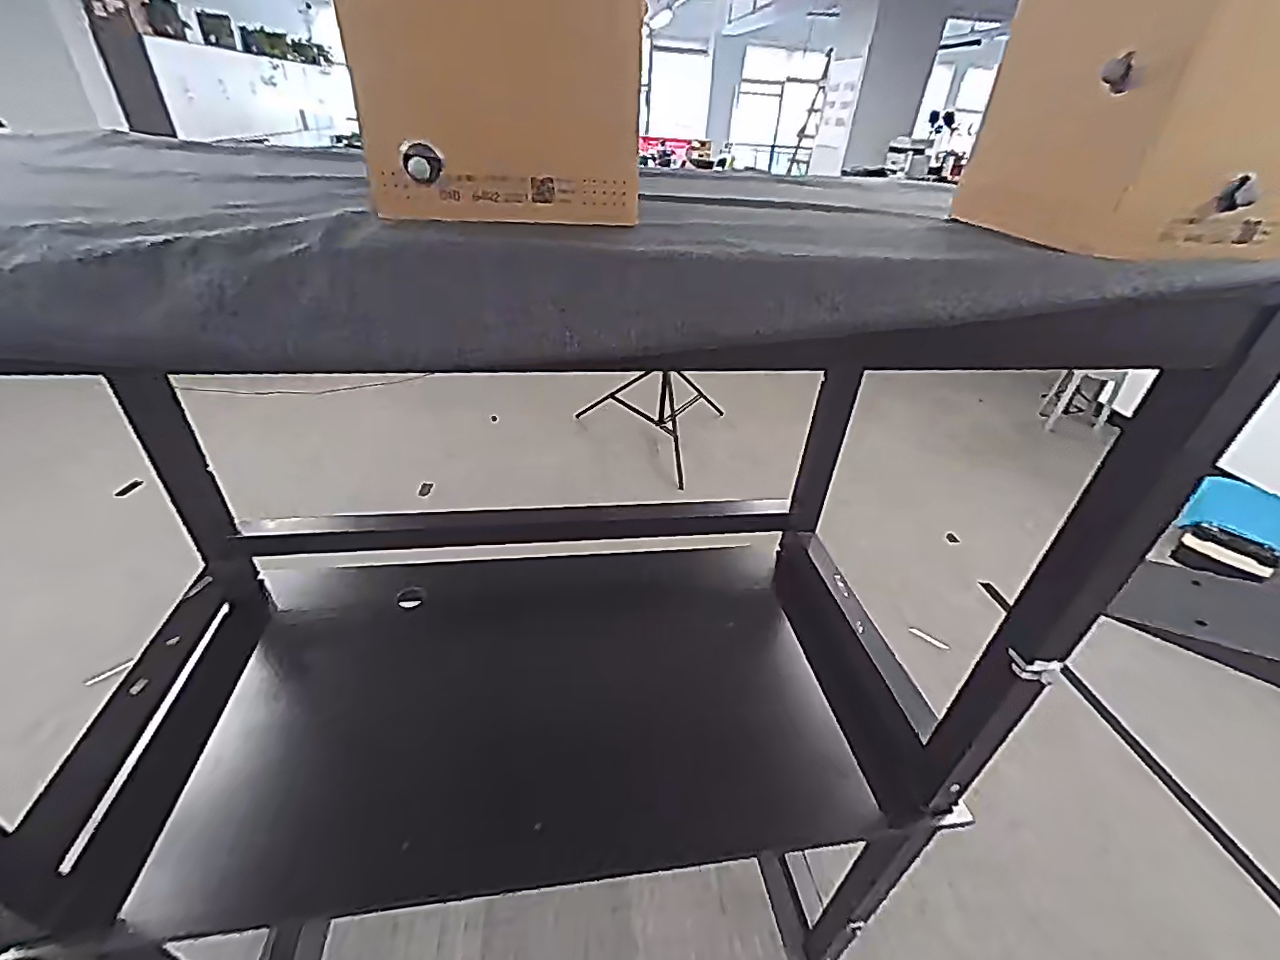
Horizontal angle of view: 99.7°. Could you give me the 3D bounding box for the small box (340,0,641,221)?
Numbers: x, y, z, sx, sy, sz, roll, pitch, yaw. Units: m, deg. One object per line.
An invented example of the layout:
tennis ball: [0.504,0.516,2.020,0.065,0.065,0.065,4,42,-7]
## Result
small box: [-0.091,-0.281,0.373,0.168,0.176,0.179,-2,32,-9]
